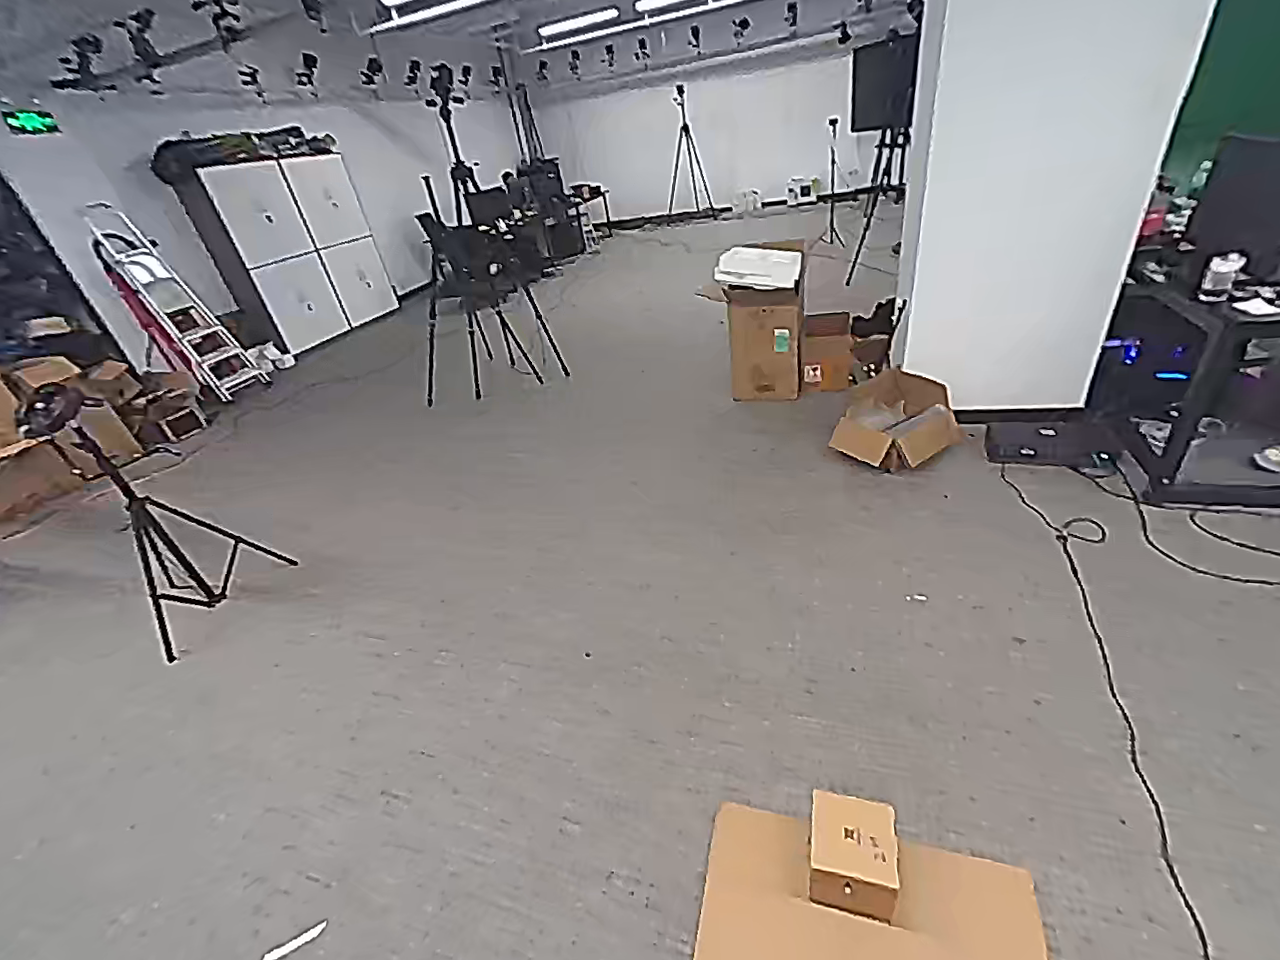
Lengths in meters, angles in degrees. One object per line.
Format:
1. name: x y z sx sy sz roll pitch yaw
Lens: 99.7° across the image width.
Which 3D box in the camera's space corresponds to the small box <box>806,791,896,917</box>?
1. small box: 0.472 0.845 1.222 0.179 0.176 0.168 3 35 18
